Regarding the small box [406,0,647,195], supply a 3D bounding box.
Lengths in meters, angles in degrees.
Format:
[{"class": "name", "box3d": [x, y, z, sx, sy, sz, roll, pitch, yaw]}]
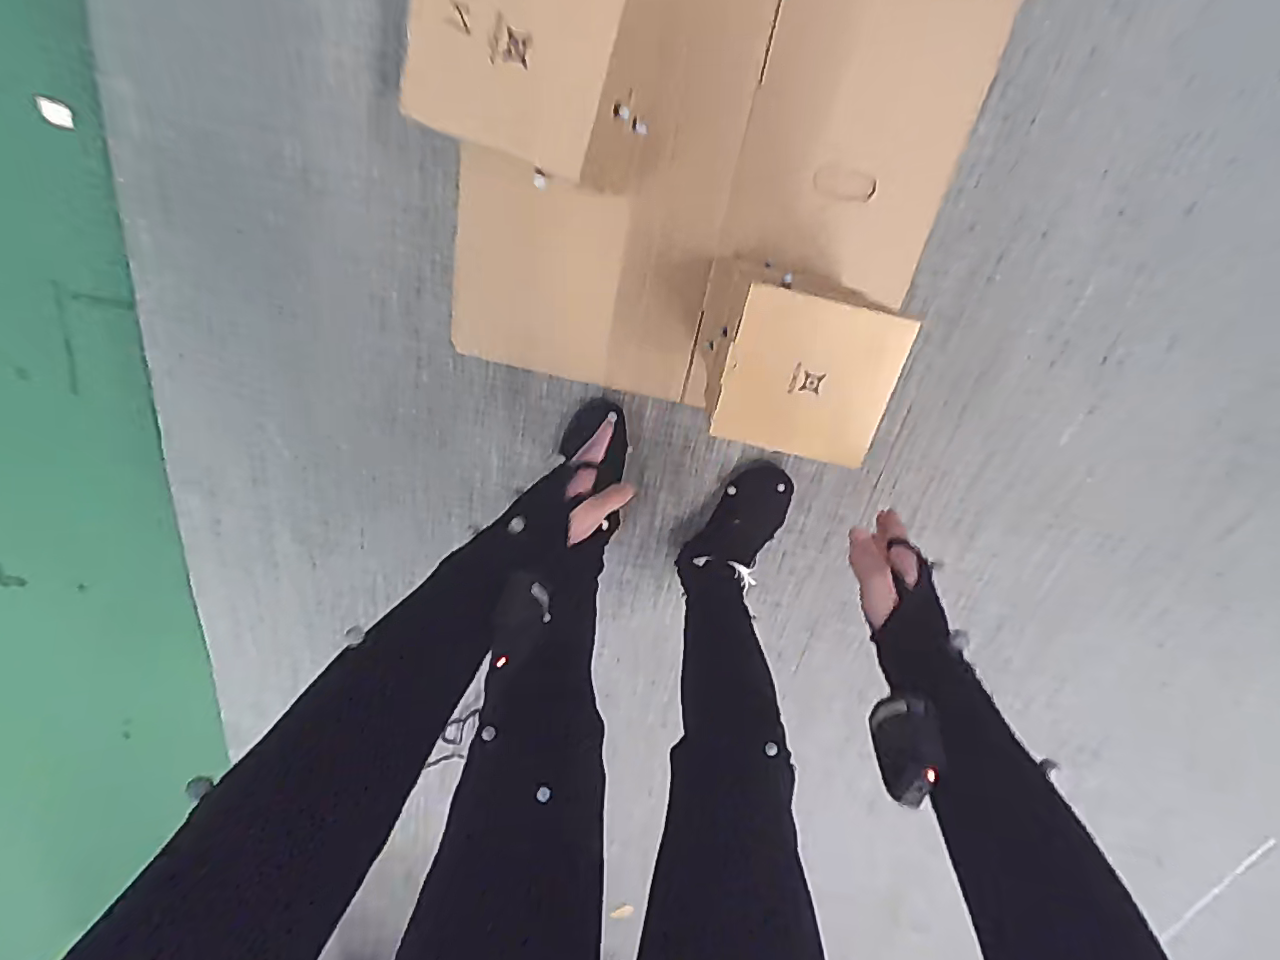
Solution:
[{"class": "small box", "box3d": [-0.100, -0.400, 0.538, 0.179, 0.176, 0.168, 20, 114, -4]}]

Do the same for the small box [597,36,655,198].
[{"class": "small box", "box3d": [-0.087, -0.475, 0.685, 0.179, 0.176, 0.168, 20, 114, -4]}]

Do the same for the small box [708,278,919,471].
[{"class": "small box", "box3d": [0.185, -0.133, 0.640, 0.179, 0.176, 0.168, 13, 116, 1]}]

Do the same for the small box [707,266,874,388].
[{"class": "small box", "box3d": [0.201, -0.206, 0.783, 0.179, 0.176, 0.168, 14, 115, -1]}]
